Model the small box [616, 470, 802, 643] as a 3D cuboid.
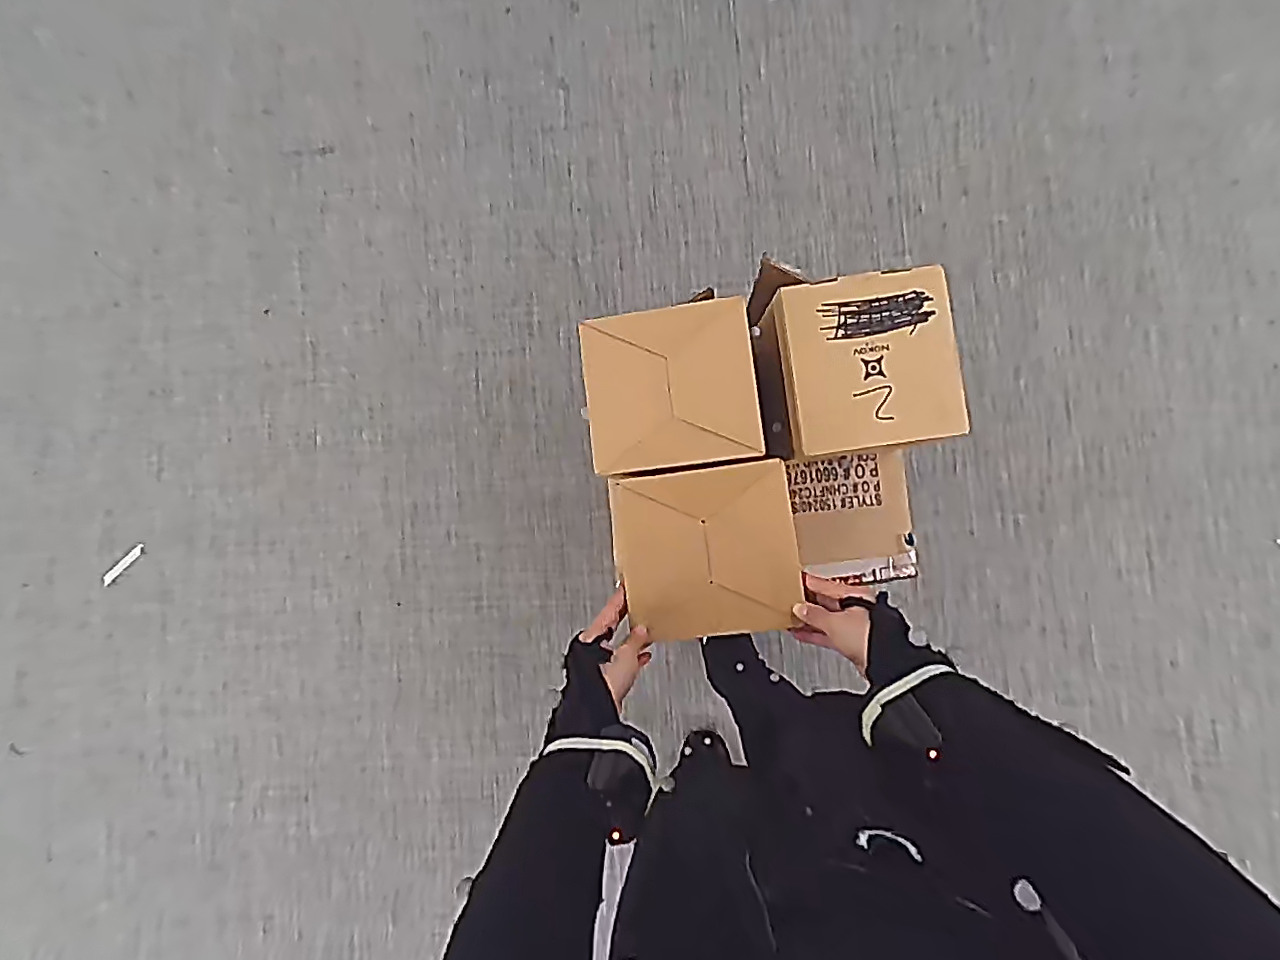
[{"bbox_3d":[0.072,0.085,0.624,0.179,0.176,0.168,-7,84,5],"label":"small box"}]
